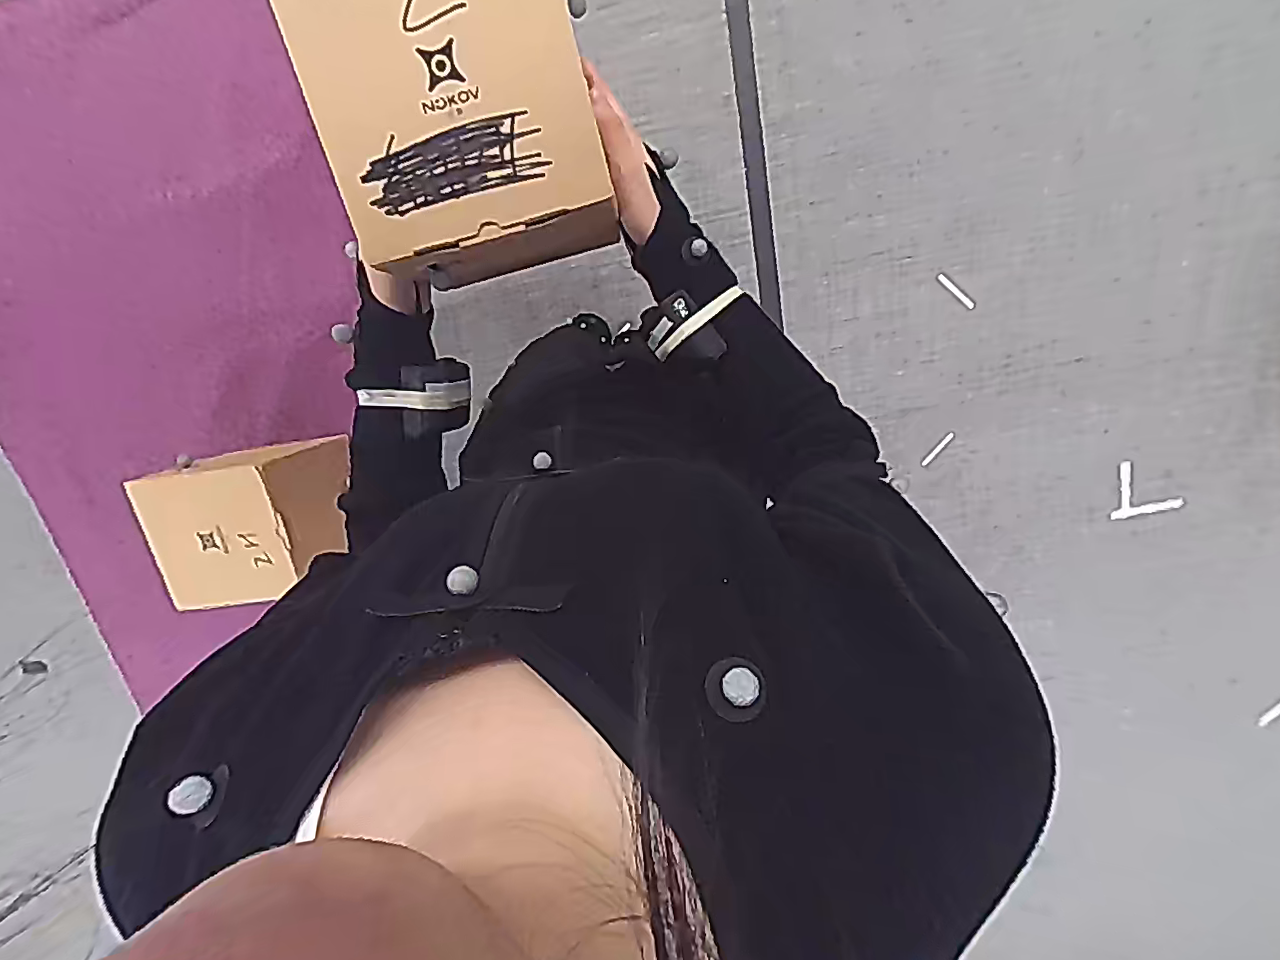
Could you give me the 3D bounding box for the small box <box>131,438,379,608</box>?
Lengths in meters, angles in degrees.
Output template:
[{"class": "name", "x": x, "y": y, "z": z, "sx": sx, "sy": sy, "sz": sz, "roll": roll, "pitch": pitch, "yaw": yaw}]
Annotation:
[{"class": "small box", "x": -0.484, "y": 0.048, "z": 0.708, "sx": 0.179, "sy": 0.176, "sz": 0.168, "roll": -8, "pitch": 106, "yaw": 6}]
